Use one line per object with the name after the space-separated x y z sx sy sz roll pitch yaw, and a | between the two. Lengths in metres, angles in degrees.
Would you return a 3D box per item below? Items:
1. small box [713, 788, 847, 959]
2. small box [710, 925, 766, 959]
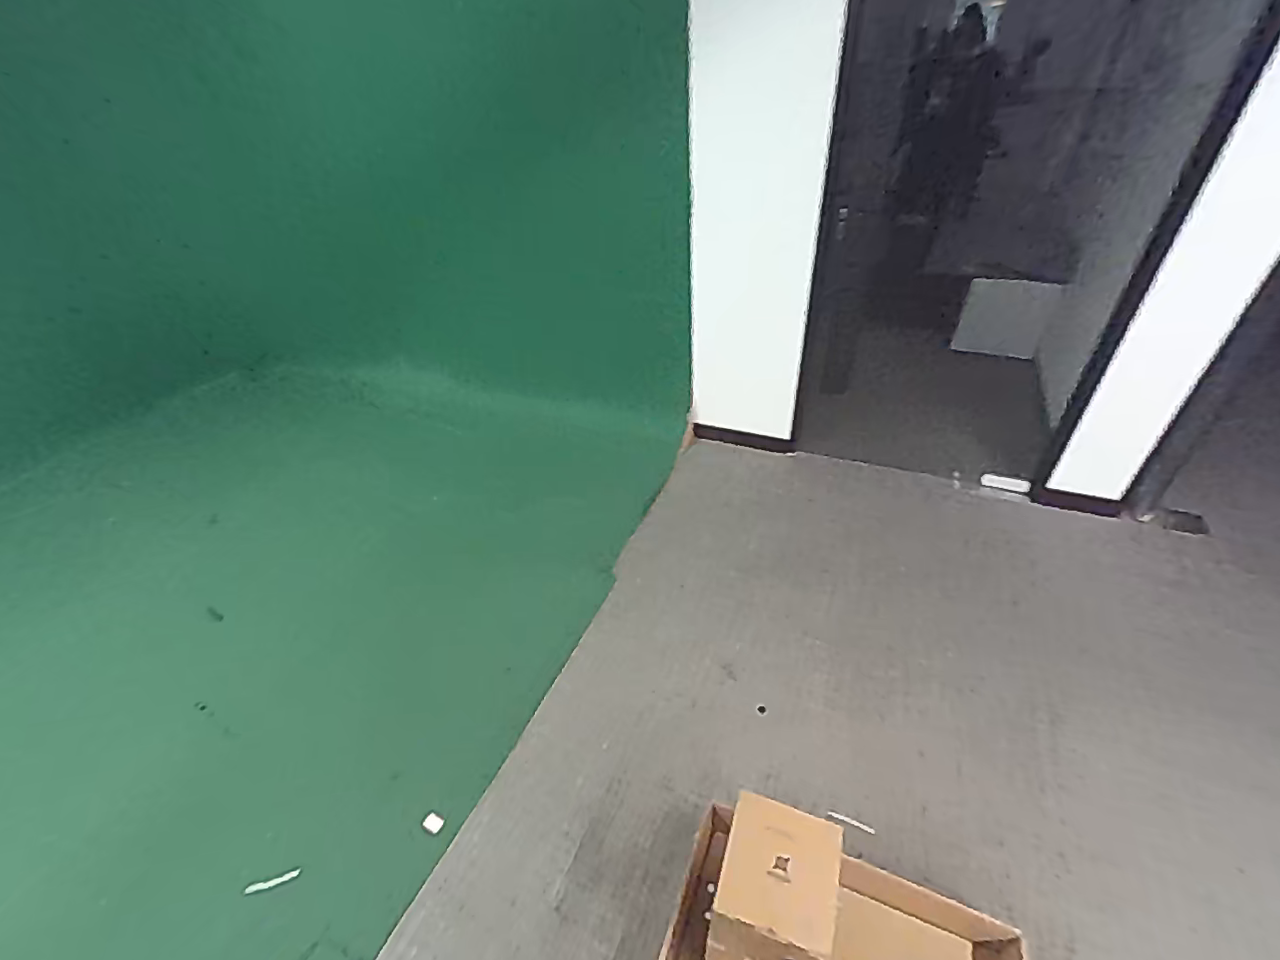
0.216 0.636 0.851 0.168 0.176 0.179 13 41 18 | small box
0.224 0.767 0.949 0.168 0.176 0.179 13 42 20 | small box
